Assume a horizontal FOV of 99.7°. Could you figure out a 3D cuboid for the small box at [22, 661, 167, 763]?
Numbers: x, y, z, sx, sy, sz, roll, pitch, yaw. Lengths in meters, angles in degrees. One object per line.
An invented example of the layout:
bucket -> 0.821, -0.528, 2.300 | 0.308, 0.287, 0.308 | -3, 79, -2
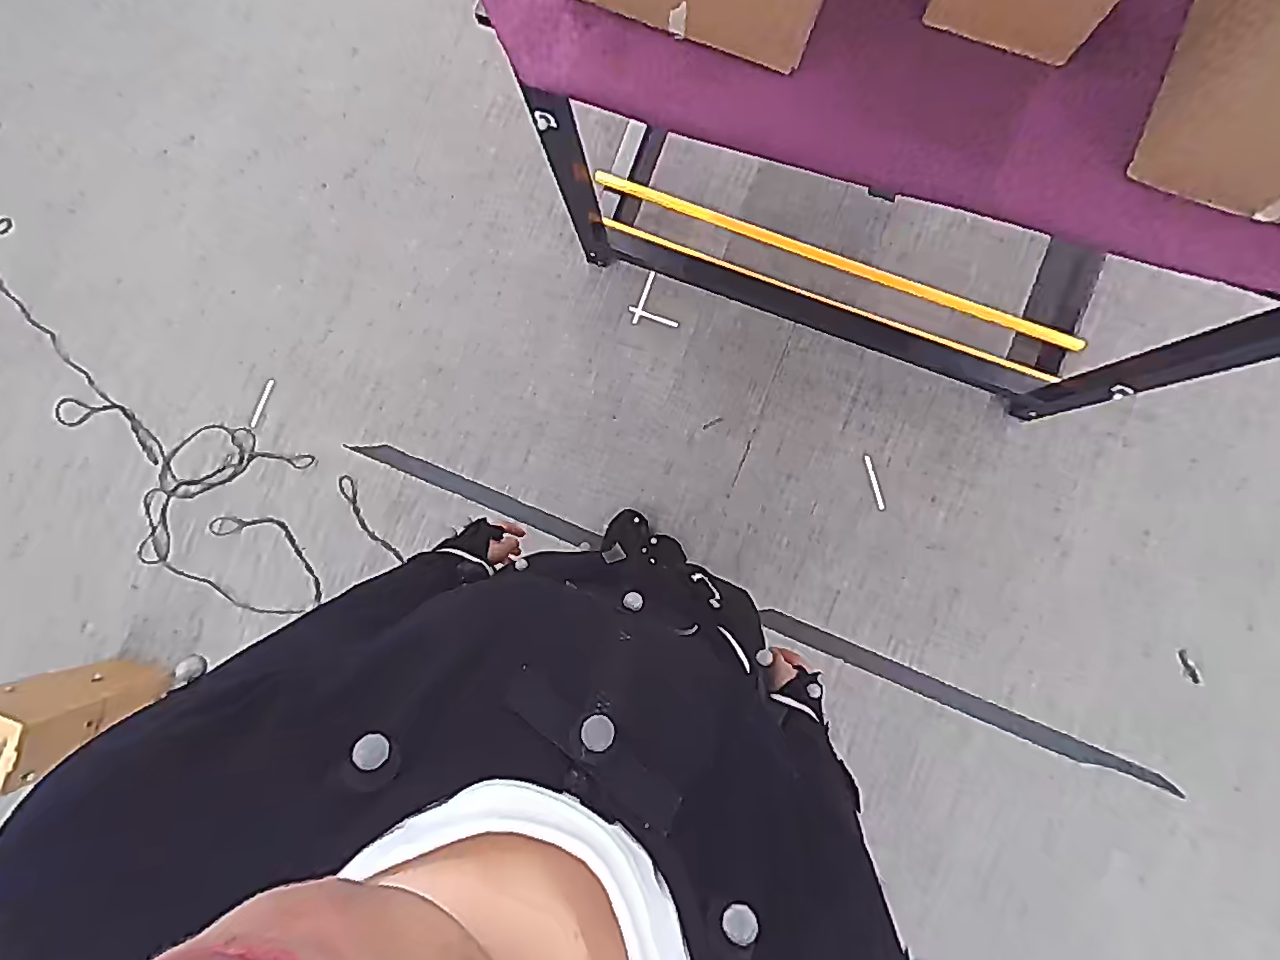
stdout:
small box -> -1.374, 0.578, 1.373 | 0.179, 0.176, 0.168 | 15, 89, 4
